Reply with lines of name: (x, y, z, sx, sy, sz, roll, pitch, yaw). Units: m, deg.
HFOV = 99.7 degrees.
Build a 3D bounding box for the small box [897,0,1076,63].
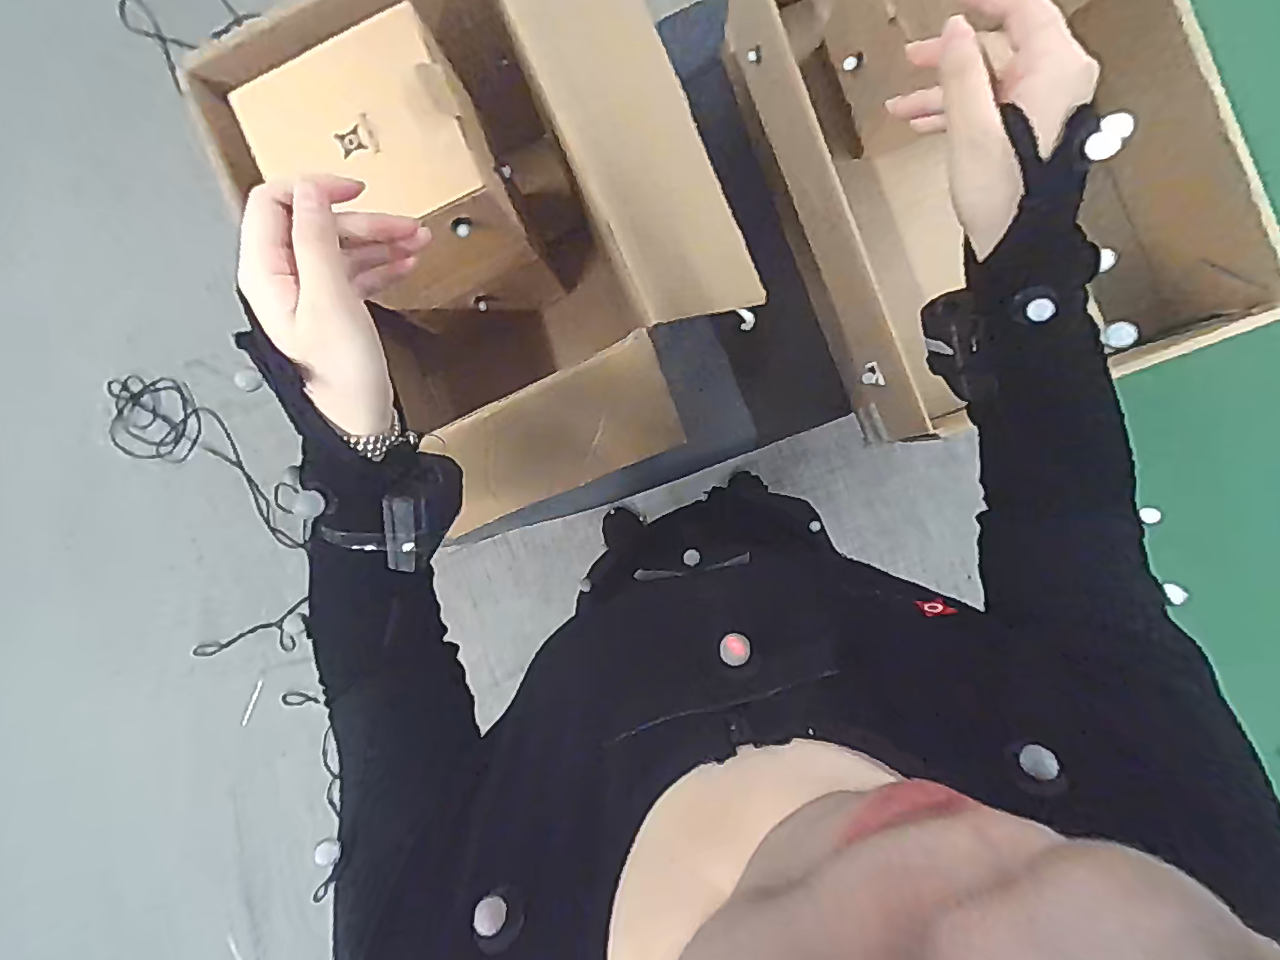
small box: (0.329, -0.526, 0.468, 0.168, 0.176, 0.179, -21, 91, 3)
